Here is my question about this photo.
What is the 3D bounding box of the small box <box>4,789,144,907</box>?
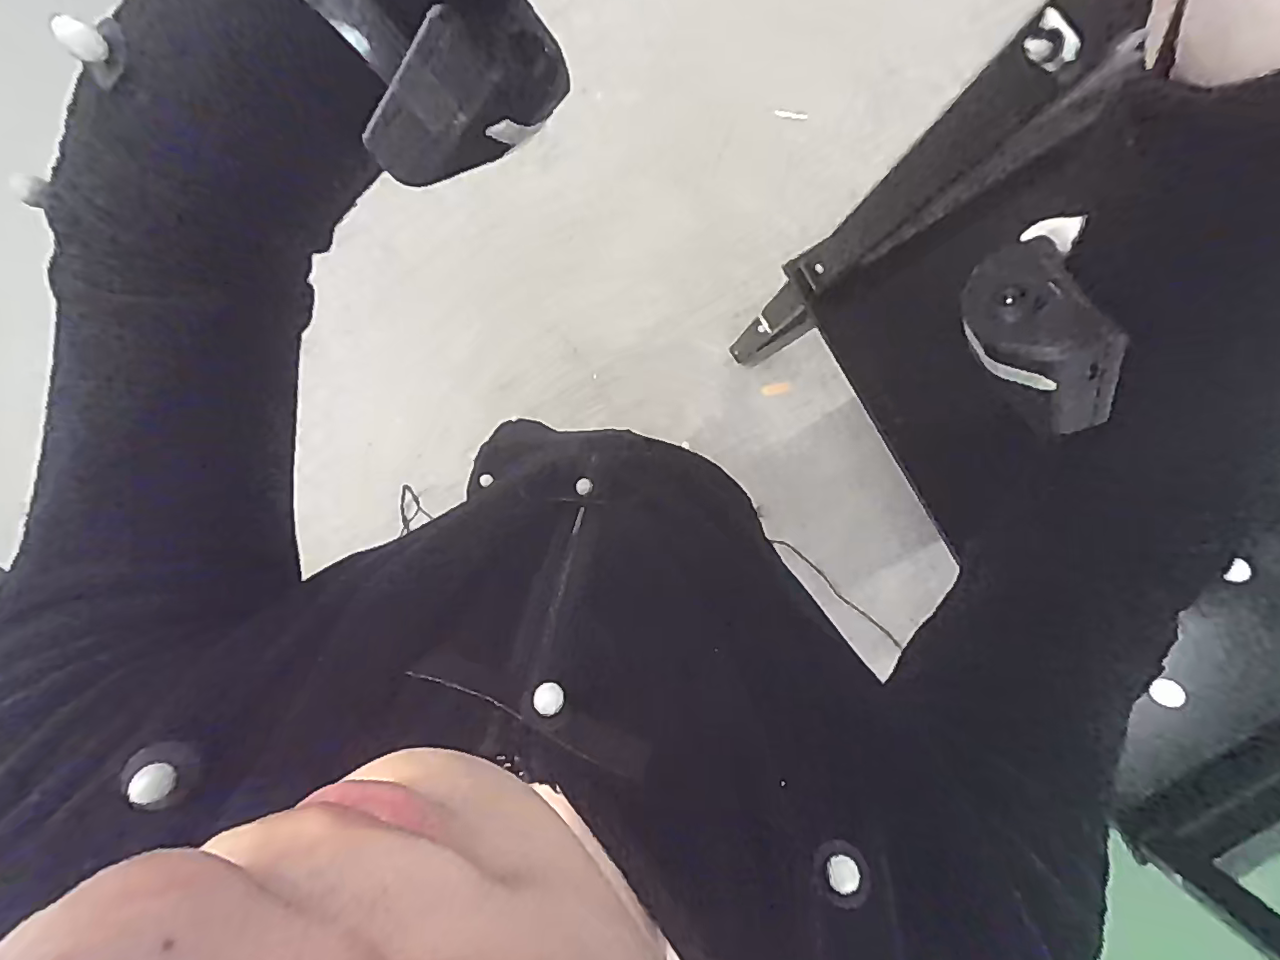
[{"bbox_3d":[-1.525,0.991,1.471,0.168,0.176,0.179,-27,93,2],"label":"small box"}]

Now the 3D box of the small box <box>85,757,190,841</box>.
[{"bbox_3d":[-1.531,0.985,1.634,0.168,0.176,0.179,-28,94,3],"label":"small box"}]
